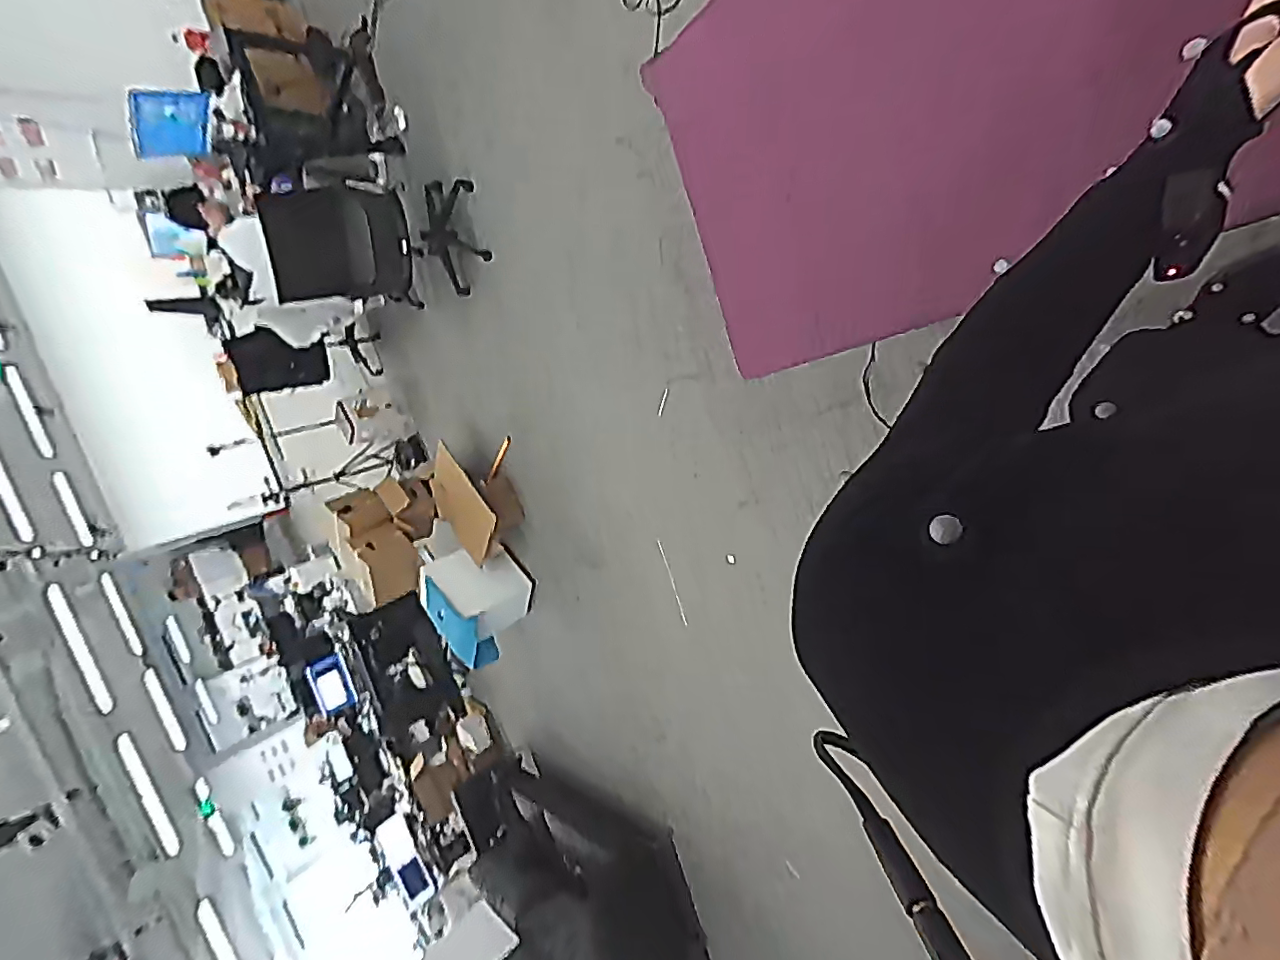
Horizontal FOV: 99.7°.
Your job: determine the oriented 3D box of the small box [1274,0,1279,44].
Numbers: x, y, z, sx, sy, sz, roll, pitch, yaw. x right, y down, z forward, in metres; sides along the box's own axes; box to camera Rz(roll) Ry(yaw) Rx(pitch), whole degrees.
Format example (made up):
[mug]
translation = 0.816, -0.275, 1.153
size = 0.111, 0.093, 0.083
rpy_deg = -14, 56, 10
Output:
[small box]
translation = 0.608, -0.465, 0.409
size = 0.168, 0.176, 0.179
rpy_deg = -2, 102, 51
